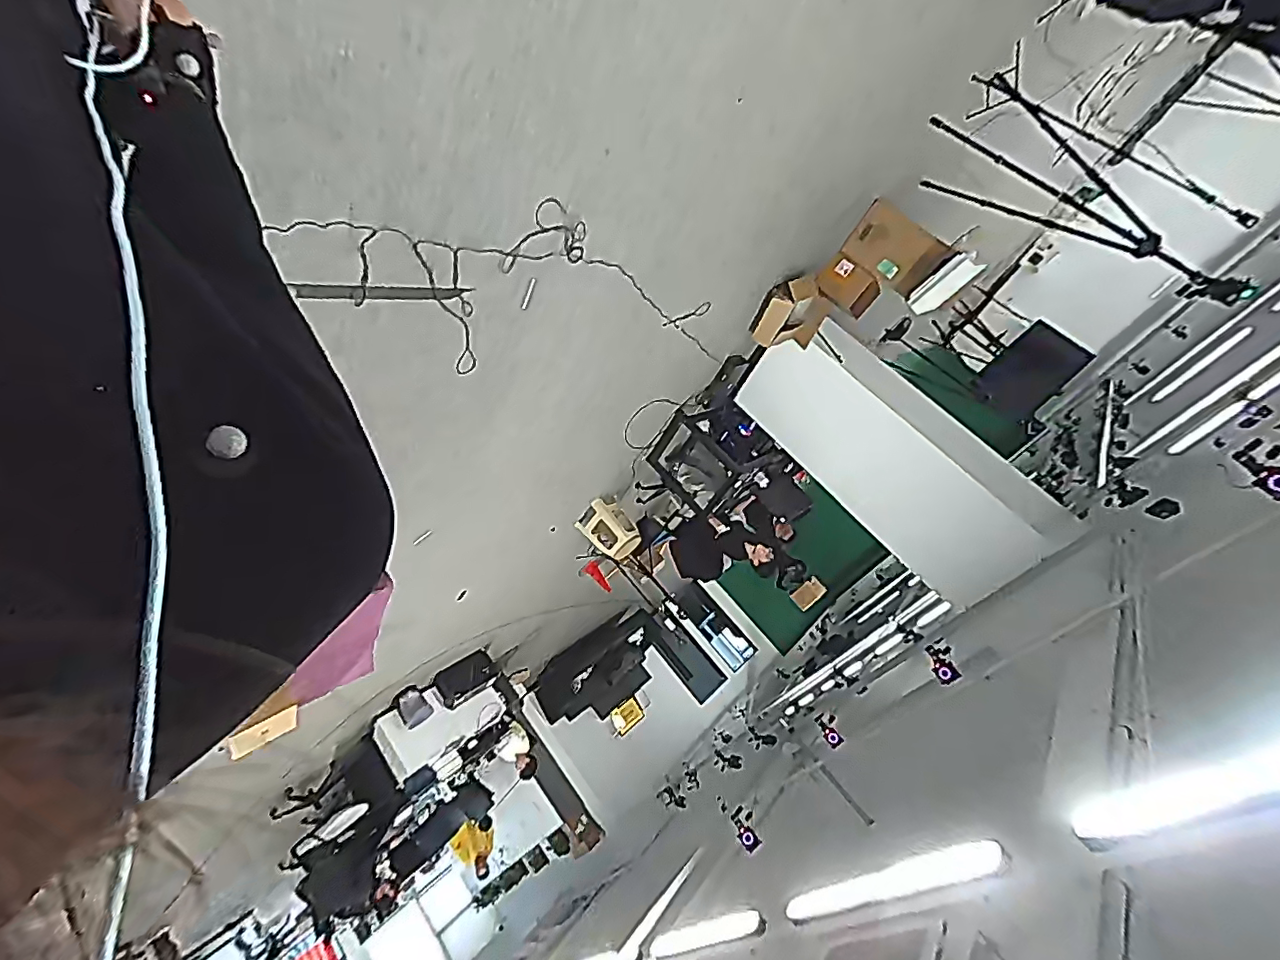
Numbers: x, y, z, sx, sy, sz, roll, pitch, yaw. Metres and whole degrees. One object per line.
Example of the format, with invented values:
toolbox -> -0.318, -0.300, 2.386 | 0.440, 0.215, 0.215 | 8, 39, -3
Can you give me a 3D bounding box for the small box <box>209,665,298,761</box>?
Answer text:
small box -> -1.116, 0.664, 1.562 | 0.168, 0.176, 0.179 | -22, 153, -45
